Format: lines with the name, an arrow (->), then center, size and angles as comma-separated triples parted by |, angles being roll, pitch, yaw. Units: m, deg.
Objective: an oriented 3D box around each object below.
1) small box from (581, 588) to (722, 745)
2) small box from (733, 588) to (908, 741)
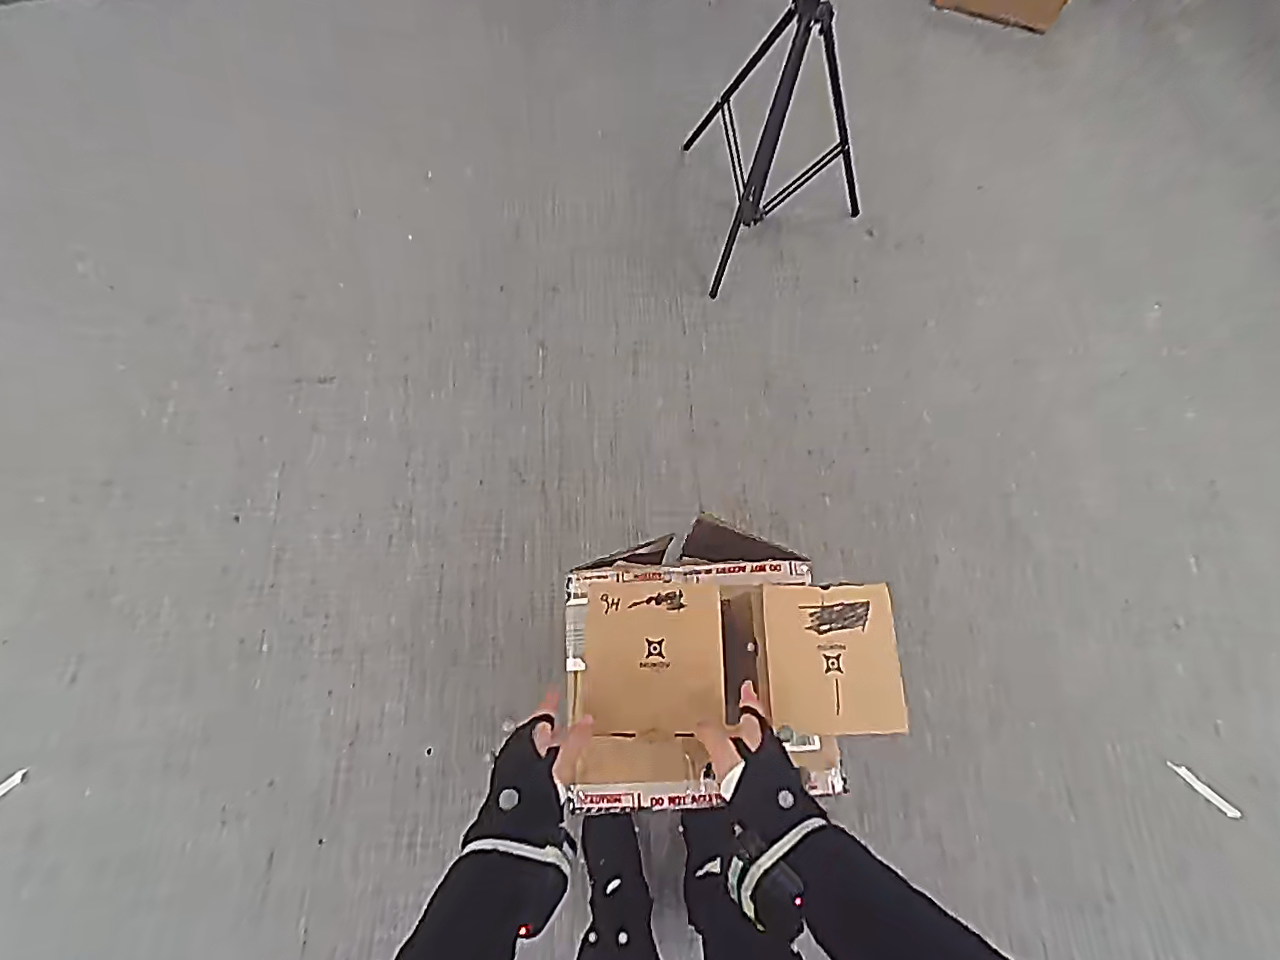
small box -> 0.016, 0.240, 0.715 | 0.168, 0.176, 0.179 | 1, 72, 0
small box -> 0.225, 0.244, 0.725 | 0.168, 0.176, 0.179 | 1, 72, -4
